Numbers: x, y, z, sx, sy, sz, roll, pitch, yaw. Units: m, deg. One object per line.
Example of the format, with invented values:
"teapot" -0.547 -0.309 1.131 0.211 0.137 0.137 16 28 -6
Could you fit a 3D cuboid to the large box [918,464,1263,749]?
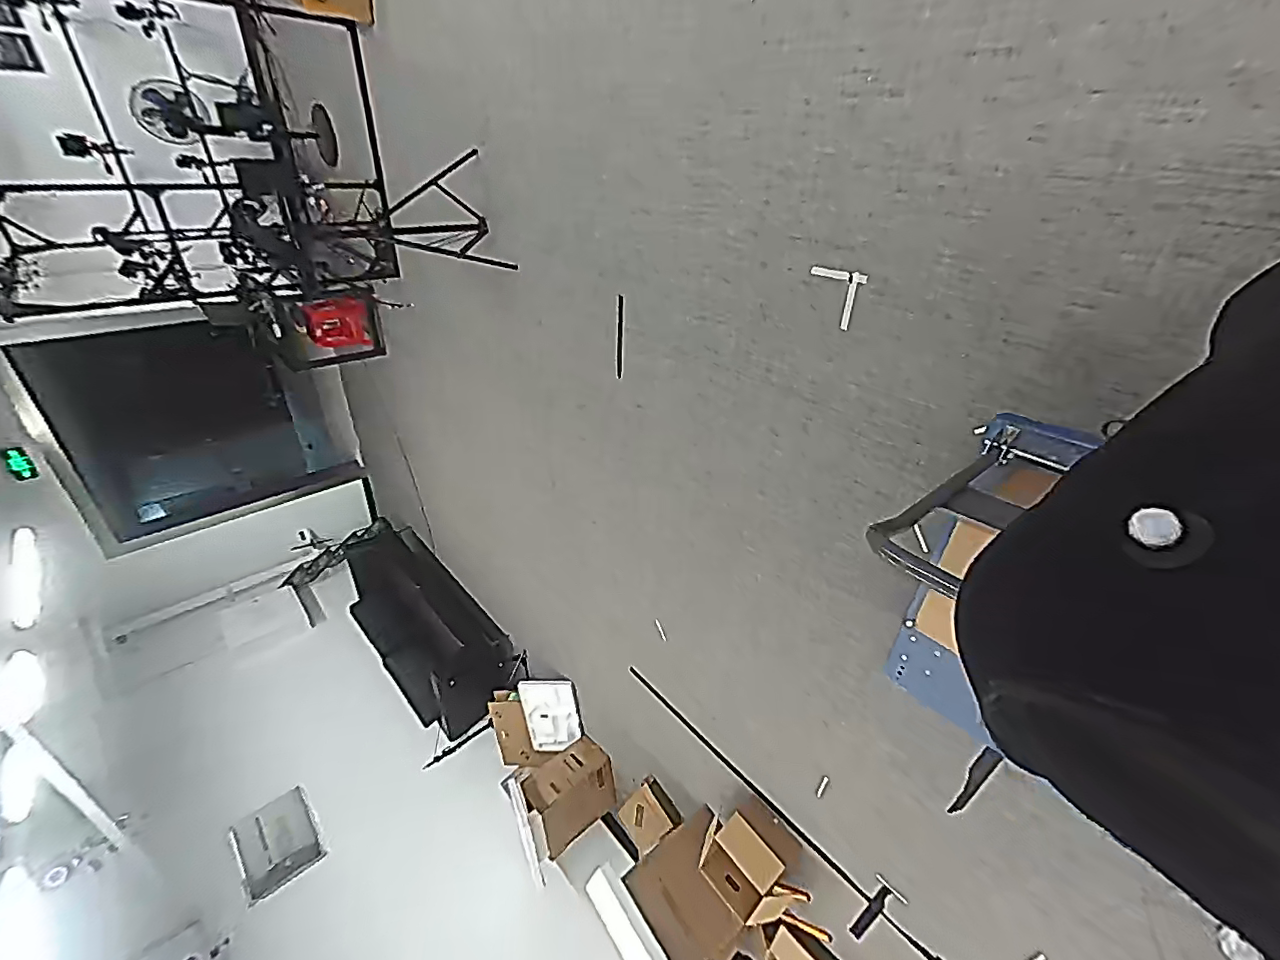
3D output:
"large box" 0.859 0.217 1.071 0.408 0.320 0.320 33 132 39
